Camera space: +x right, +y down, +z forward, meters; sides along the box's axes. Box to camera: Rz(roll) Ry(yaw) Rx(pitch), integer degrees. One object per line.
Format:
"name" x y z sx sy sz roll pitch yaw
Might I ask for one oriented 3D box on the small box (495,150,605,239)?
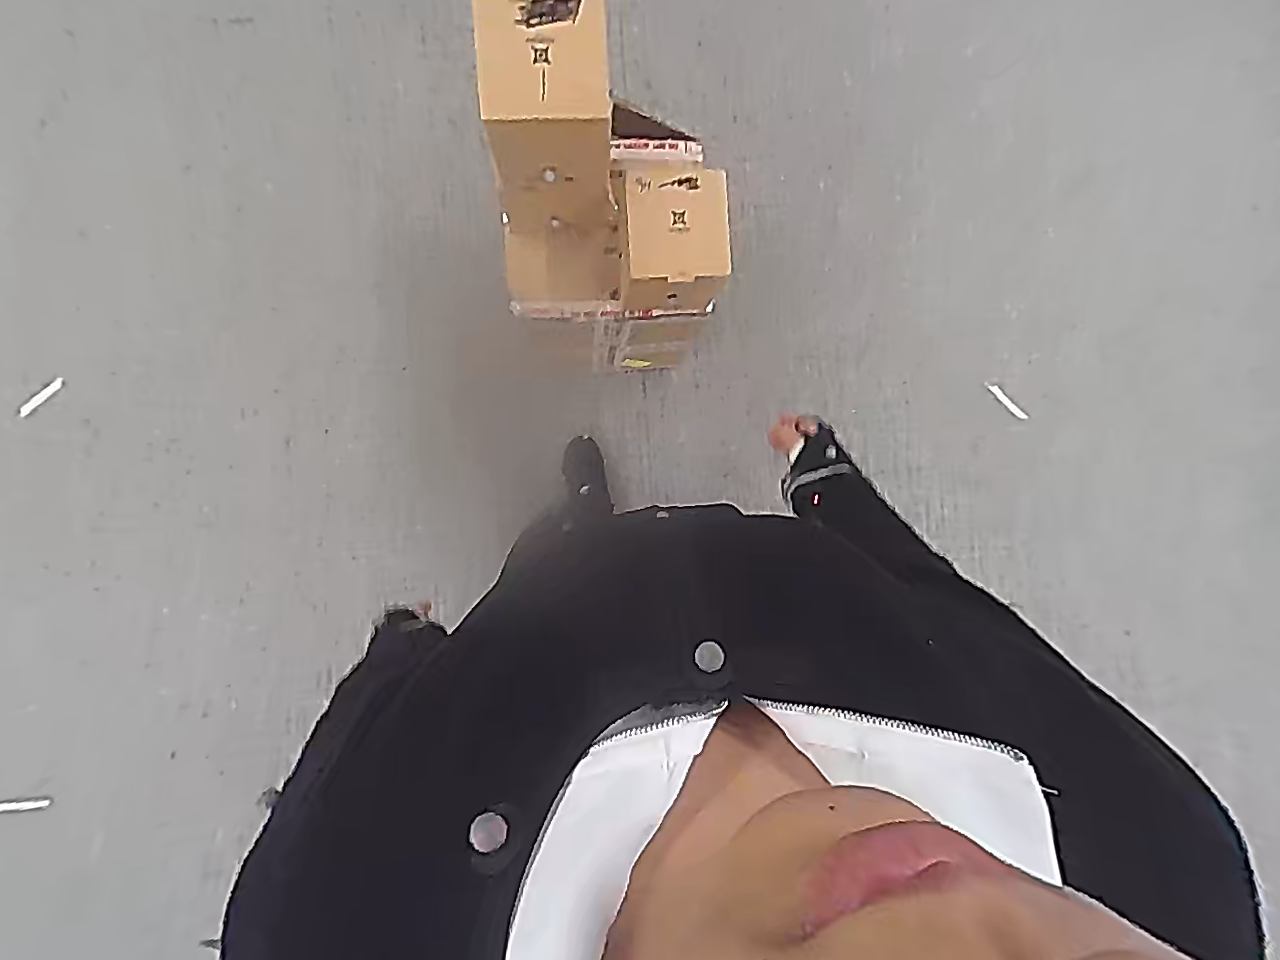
"small box" -0.152 -0.539 0.922 0.168 0.176 0.179 -7 92 -3

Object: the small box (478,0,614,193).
"small box" -0.125 -0.533 0.759 0.168 0.176 0.179 -3 92 -3

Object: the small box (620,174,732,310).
"small box" 0.056 -0.401 0.940 0.168 0.176 0.179 -3 91 -7
